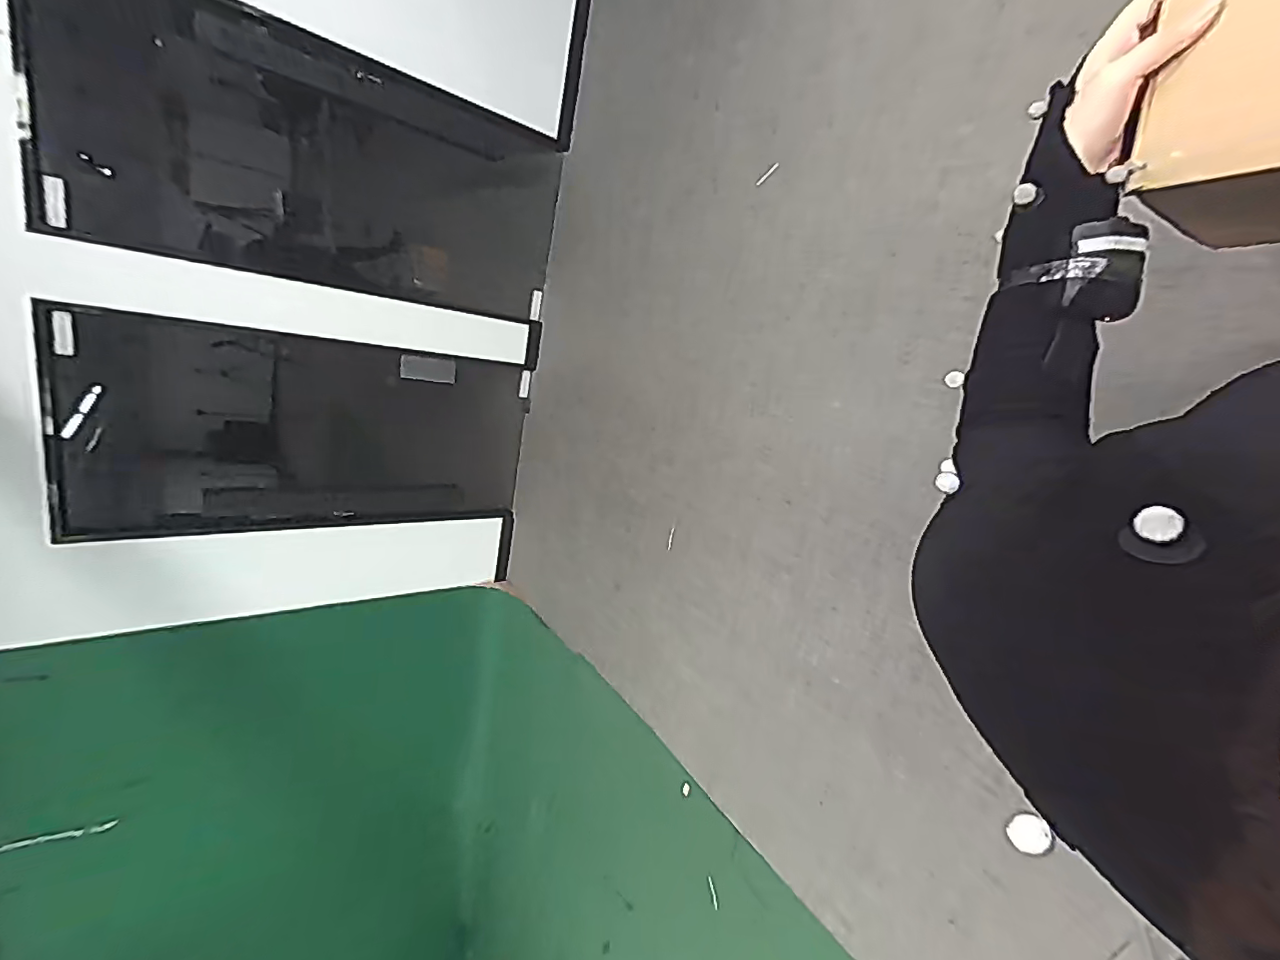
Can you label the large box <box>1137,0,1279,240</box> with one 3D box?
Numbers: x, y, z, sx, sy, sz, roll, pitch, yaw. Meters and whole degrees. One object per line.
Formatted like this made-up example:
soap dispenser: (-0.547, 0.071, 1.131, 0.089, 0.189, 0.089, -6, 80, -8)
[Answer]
large box: (0.612, -0.347, 0.300, 0.408, 0.320, 0.320, 18, 110, 53)
